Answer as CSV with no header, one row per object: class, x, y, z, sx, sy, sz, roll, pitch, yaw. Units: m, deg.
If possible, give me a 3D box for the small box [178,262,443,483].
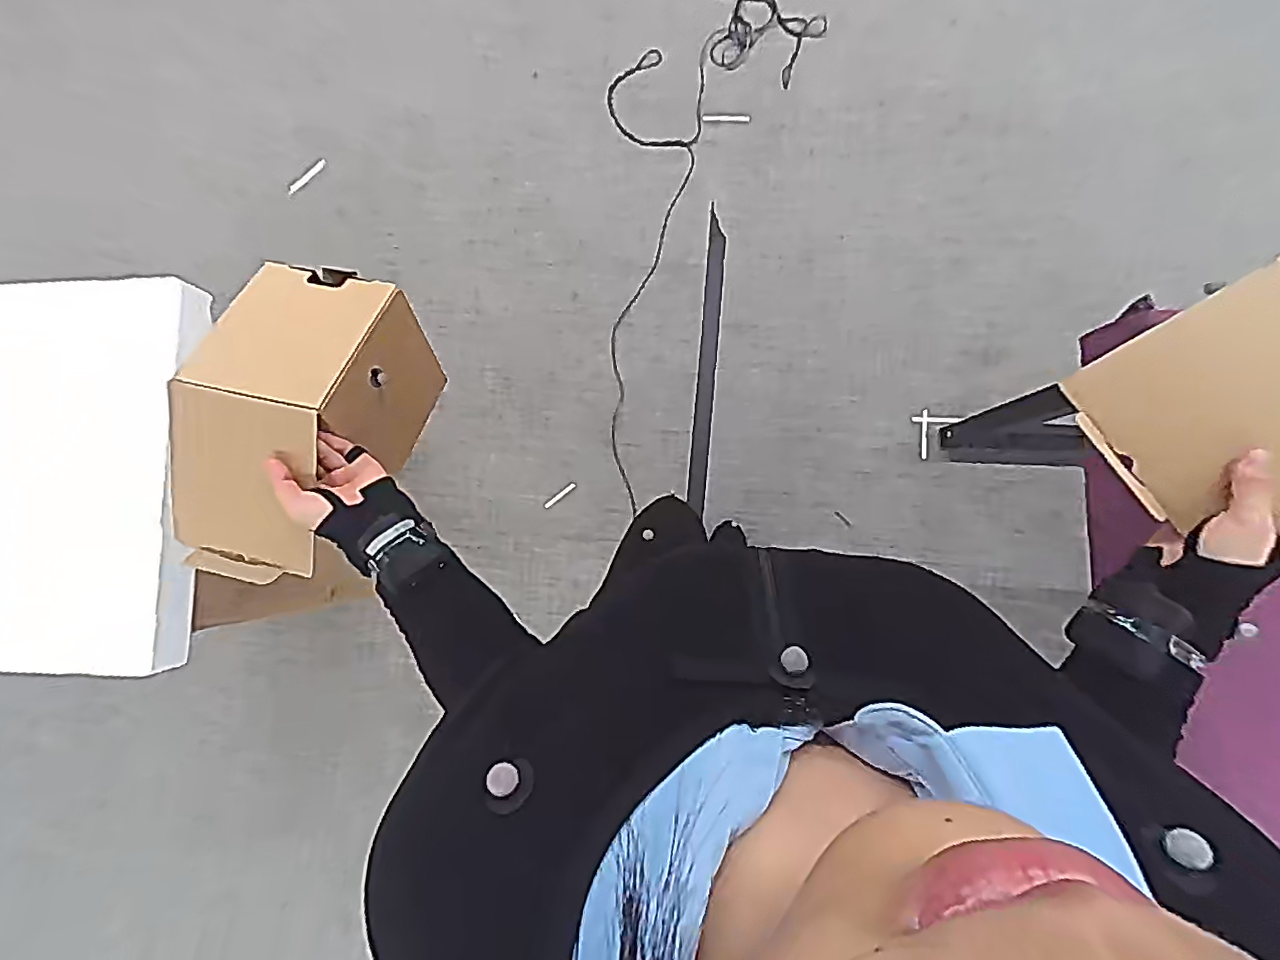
small box,-0.356,-0.118,0.630,0.168,0.176,0.179,12,62,7
